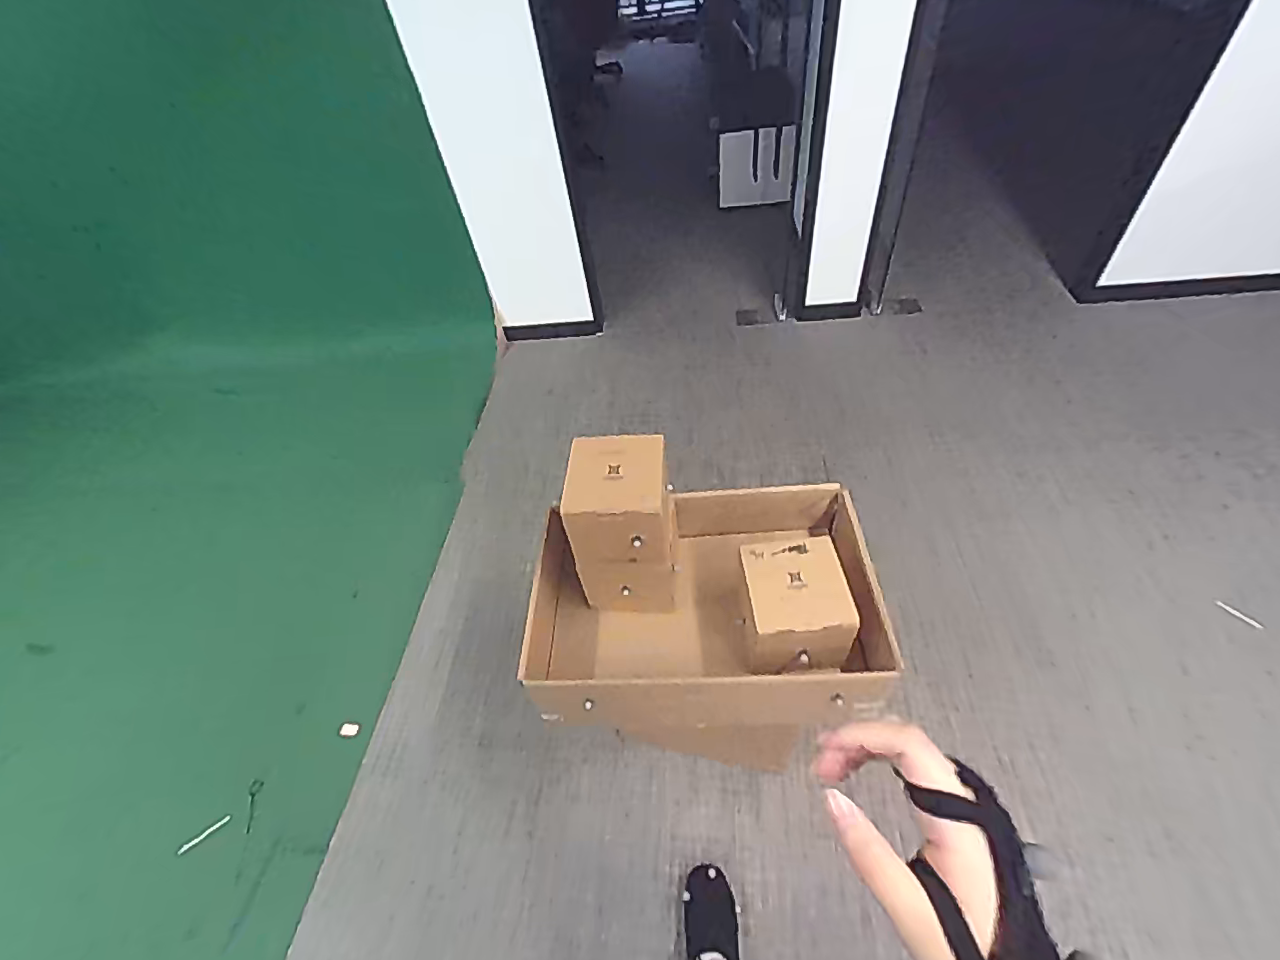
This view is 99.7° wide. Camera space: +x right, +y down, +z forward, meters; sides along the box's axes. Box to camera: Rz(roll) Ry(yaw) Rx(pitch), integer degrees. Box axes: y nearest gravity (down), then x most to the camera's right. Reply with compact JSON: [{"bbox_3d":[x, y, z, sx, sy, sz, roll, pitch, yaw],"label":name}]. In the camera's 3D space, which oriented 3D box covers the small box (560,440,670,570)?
[{"bbox_3d":[-0.034,0.048,0.970,0.168,0.176,0.179,-1,48,6],"label":"small box"}]
